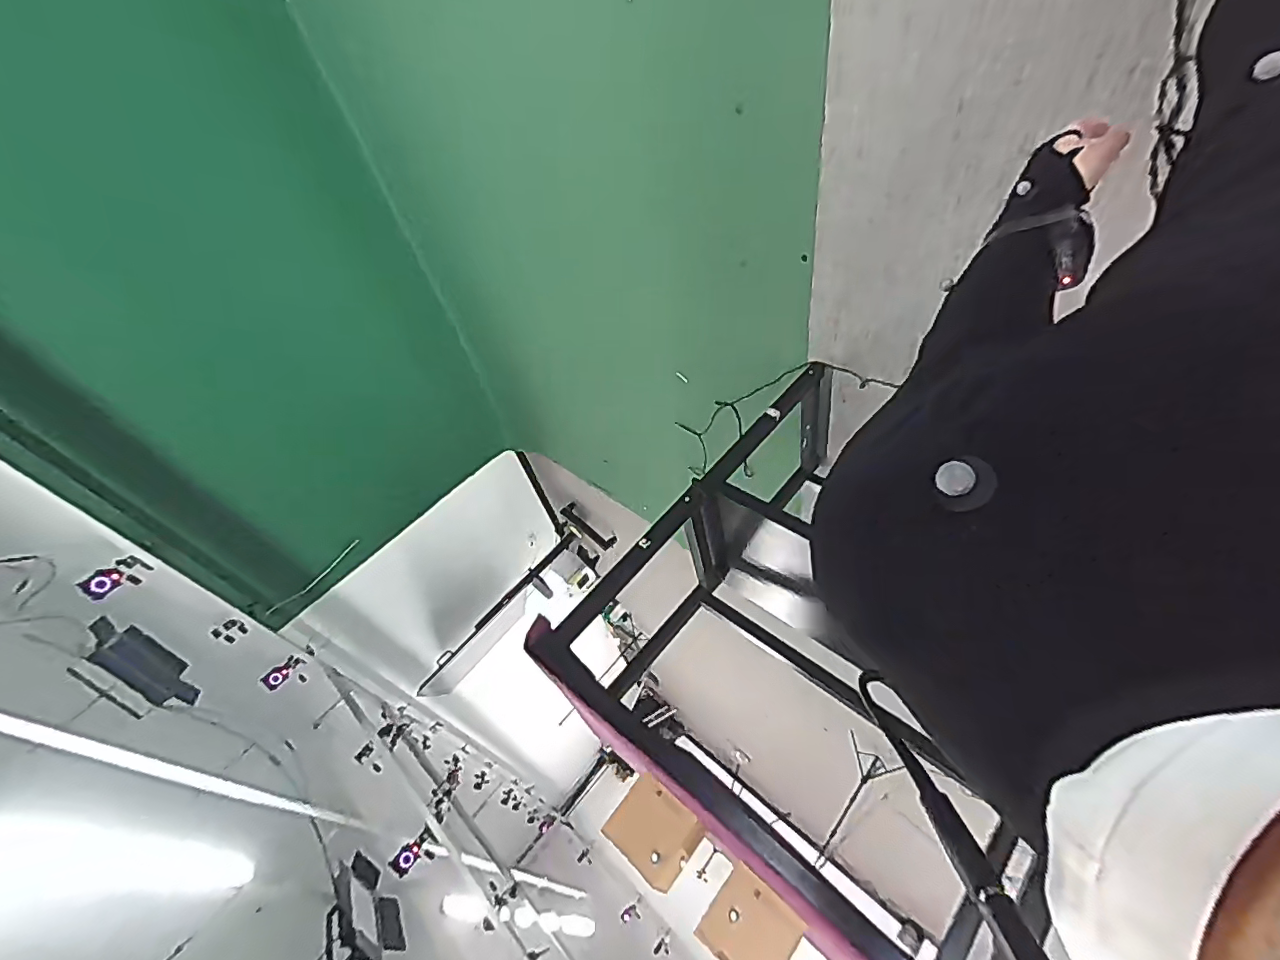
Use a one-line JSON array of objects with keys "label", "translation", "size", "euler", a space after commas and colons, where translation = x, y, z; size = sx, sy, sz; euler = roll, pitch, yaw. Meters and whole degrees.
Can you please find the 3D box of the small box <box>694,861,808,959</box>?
[{"label": "small box", "translation": [0.234, 0.935, 1.128], "size": [0.168, 0.176, 0.179], "euler": [31, 154, 32]}]
